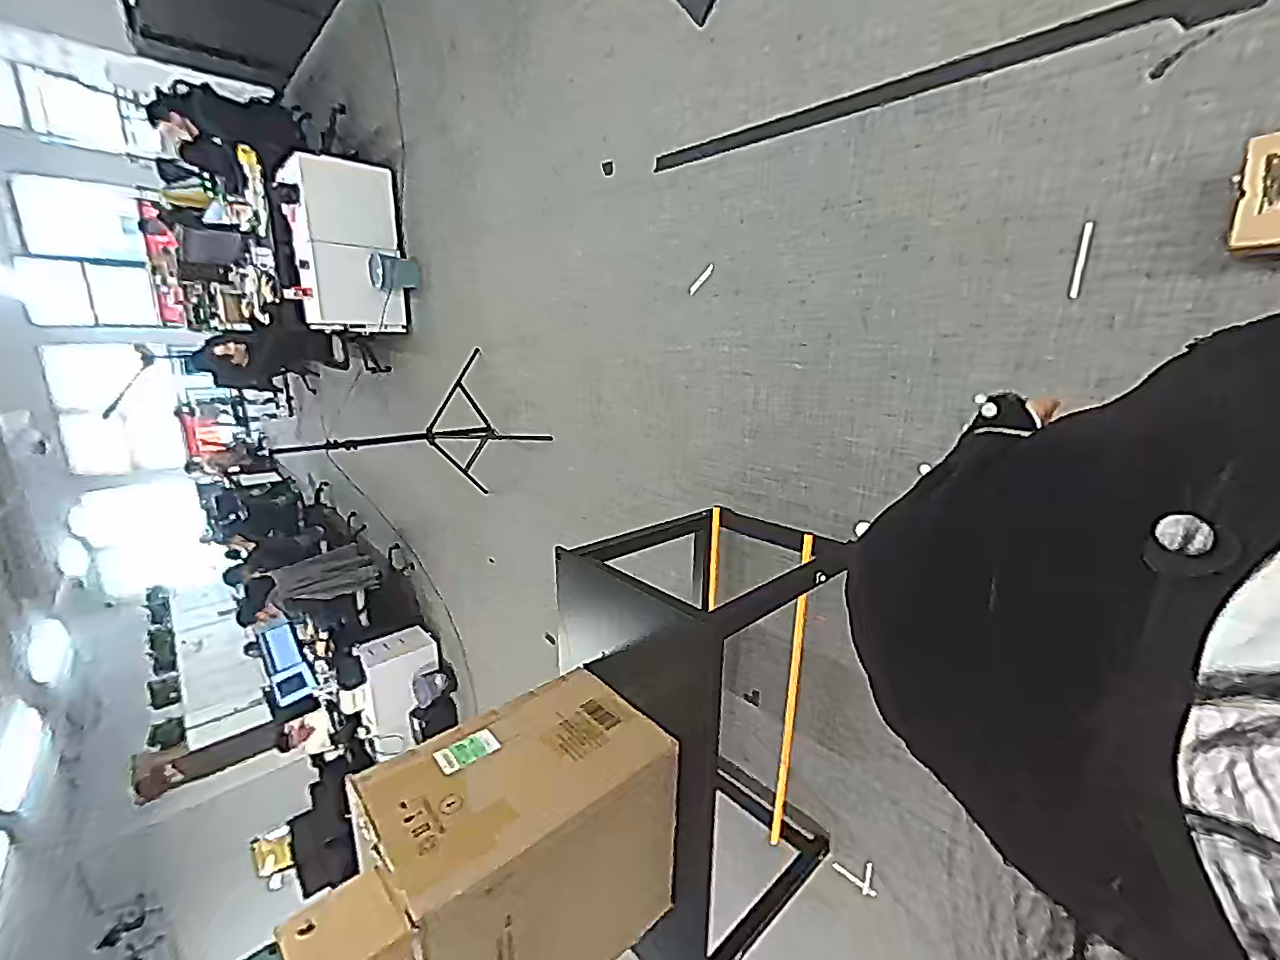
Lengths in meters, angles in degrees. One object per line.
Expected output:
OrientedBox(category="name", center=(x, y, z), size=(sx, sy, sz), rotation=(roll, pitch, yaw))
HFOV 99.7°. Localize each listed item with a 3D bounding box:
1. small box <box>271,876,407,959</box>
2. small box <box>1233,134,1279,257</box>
OrientedBox(category="small box", center=(-0.514, 0.843, 0.939), size=(0.179, 0.176, 0.168), rotation=(13, 111, 46))
OrientedBox(category="small box", center=(1.091, -0.458, 0.859), size=(0.179, 0.176, 0.168), rotation=(13, 109, 46))
